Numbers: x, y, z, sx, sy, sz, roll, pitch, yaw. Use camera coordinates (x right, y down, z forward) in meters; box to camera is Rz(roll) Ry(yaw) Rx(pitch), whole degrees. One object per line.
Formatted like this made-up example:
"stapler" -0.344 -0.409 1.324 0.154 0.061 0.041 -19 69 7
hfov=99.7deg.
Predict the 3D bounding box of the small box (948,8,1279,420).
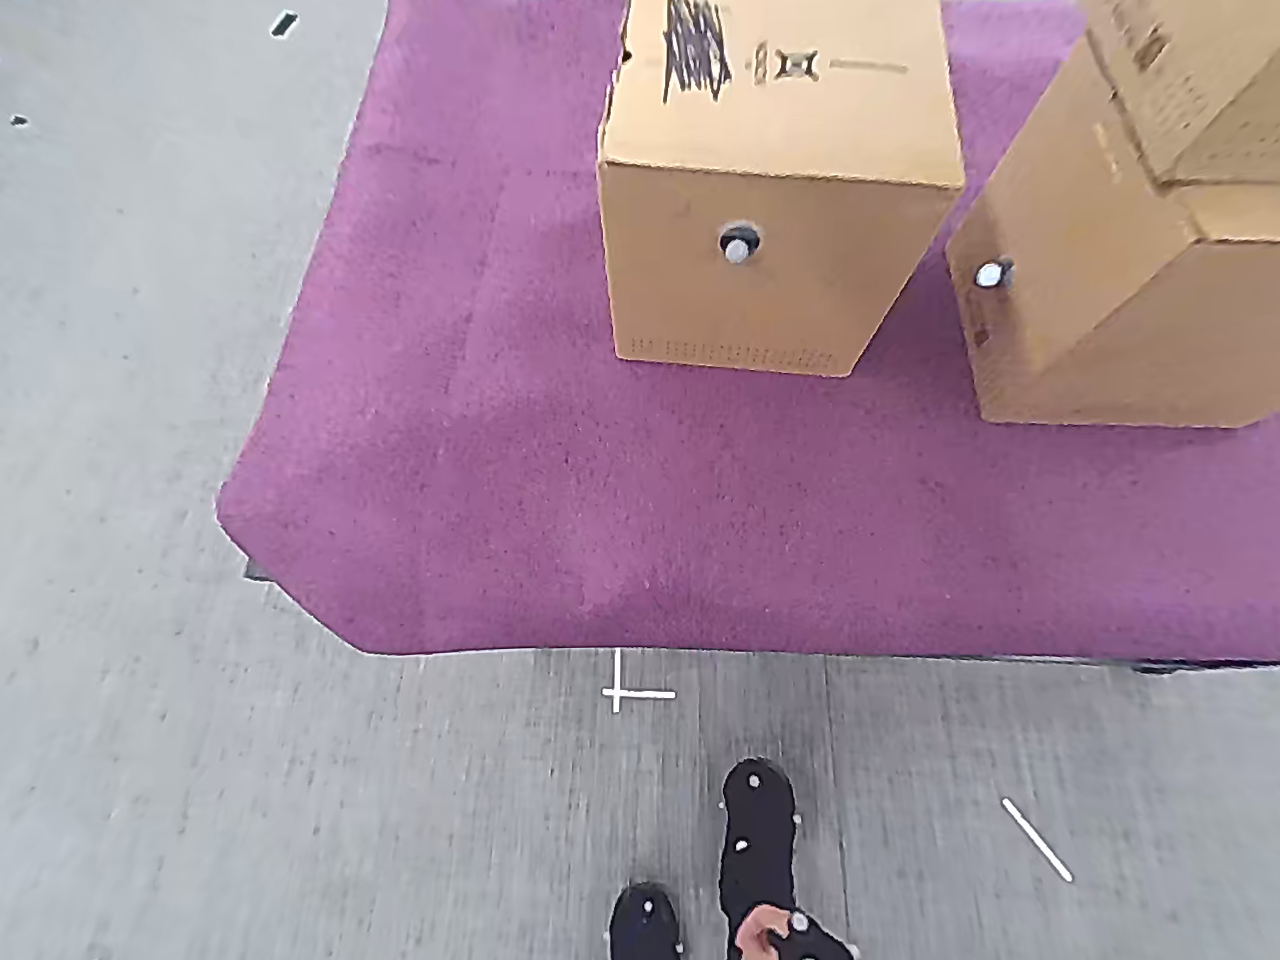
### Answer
"small box" 0.333 -0.149 0.341 0.179 0.176 0.168 2 67 3

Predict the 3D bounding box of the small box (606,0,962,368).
"small box" 0.079 -0.193 0.367 0.179 0.176 0.168 6 68 3
